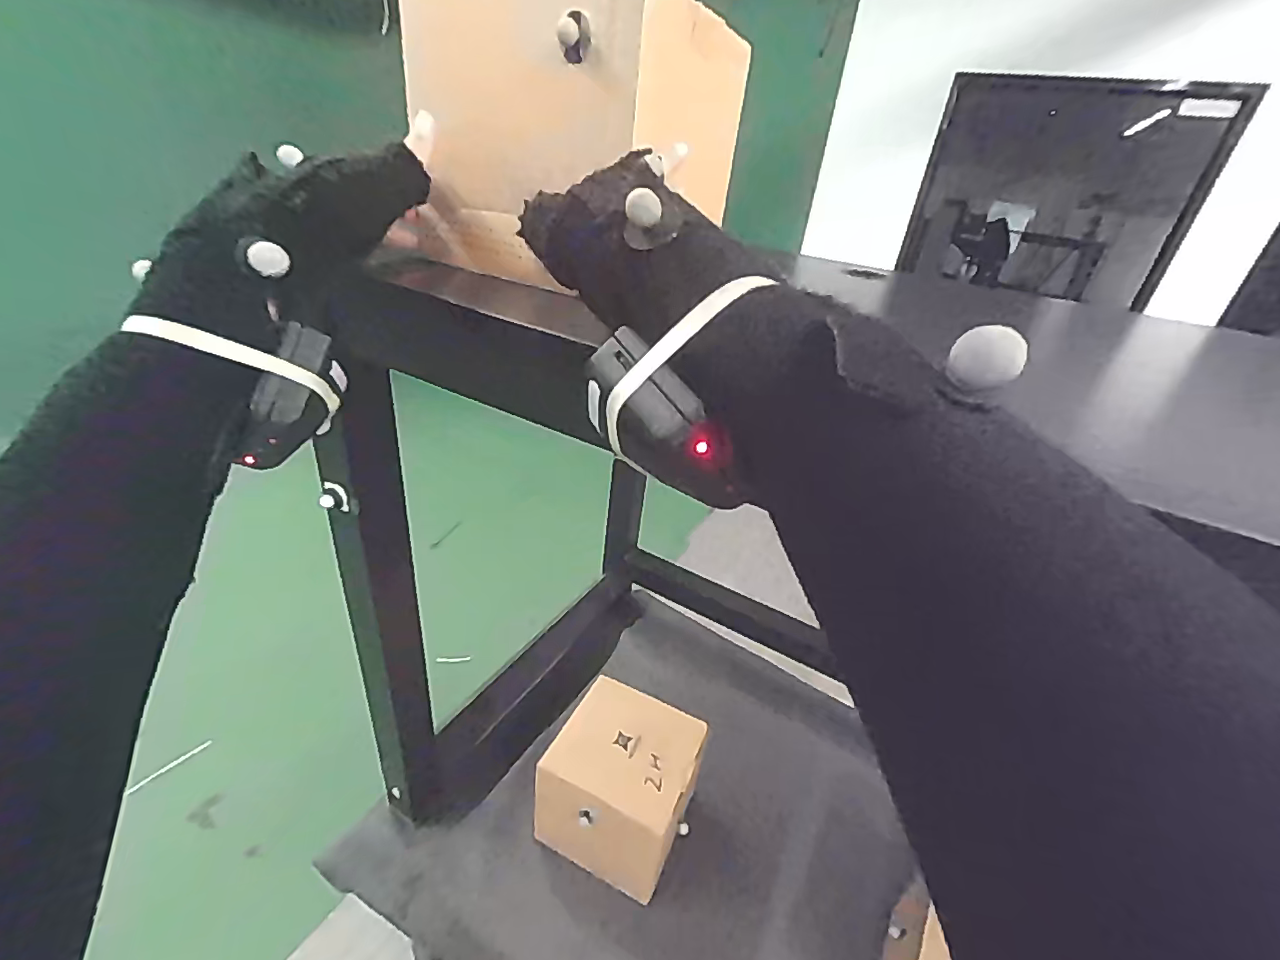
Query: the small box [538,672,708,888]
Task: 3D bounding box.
[{"bbox_3d":[-0.027,0.412,0.749,0.179,0.176,0.168,19,32,19],"label":"small box"}]
